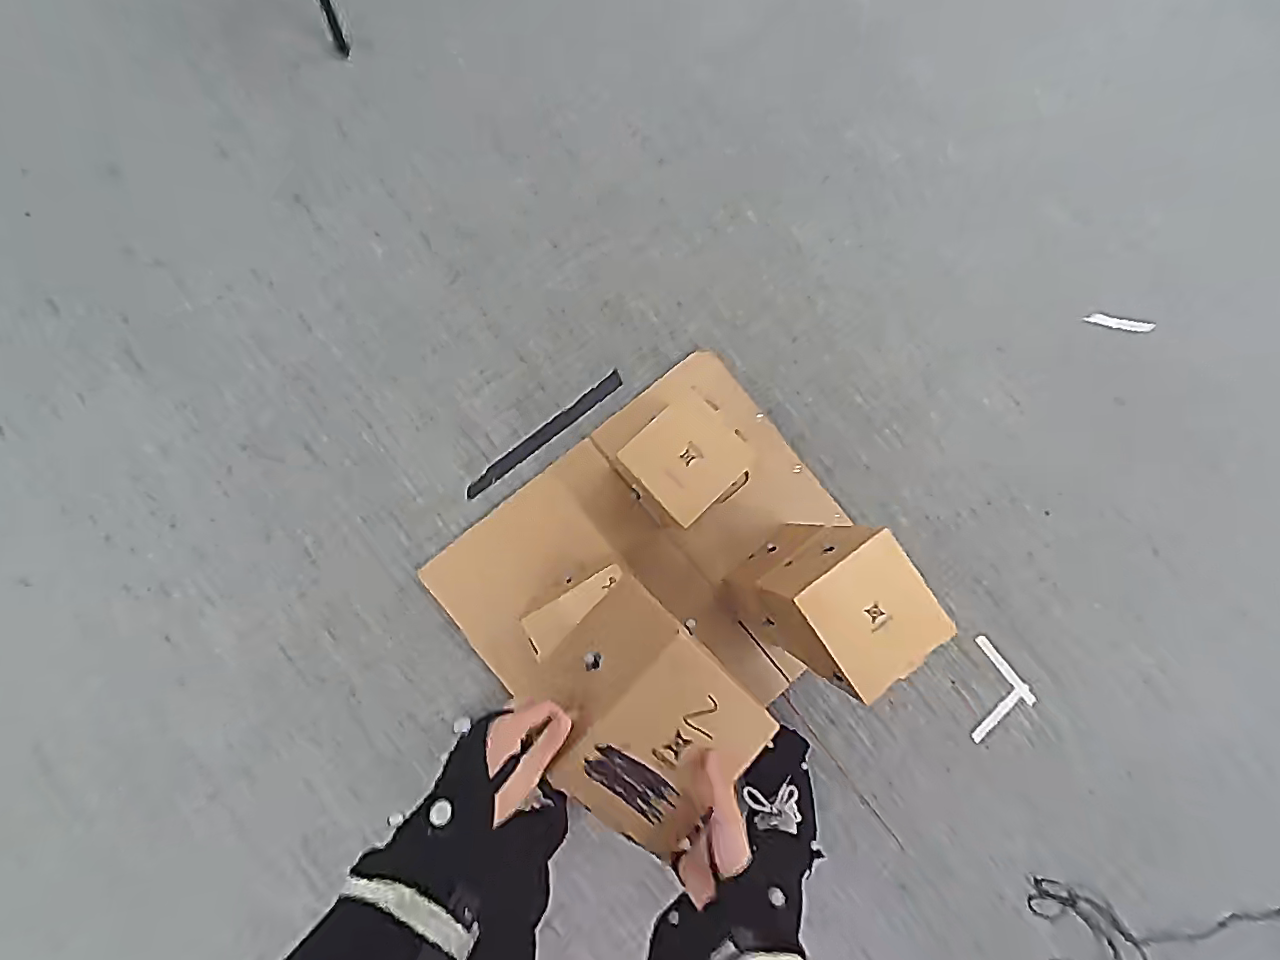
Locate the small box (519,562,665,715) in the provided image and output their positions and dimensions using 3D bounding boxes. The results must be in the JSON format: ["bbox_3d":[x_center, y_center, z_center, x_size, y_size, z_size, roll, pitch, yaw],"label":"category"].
[{"bbox_3d":[-0.078,0.253,0.911,0.179,0.176,0.168,-30,90,-6],"label":"small box"}]

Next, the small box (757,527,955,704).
[{"bbox_3d":[0.302,0.186,0.796,0.168,0.176,0.179,-35,91,-8],"label":"small box"}]

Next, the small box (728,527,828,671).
[{"bbox_3d":[0.283,0.200,0.957,0.168,0.176,0.179,-39,91,-7],"label":"small box"}]

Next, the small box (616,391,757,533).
[{"bbox_3d":[0.070,-0.024,0.953,0.179,0.176,0.168,-44,90,-8],"label":"small box"}]
